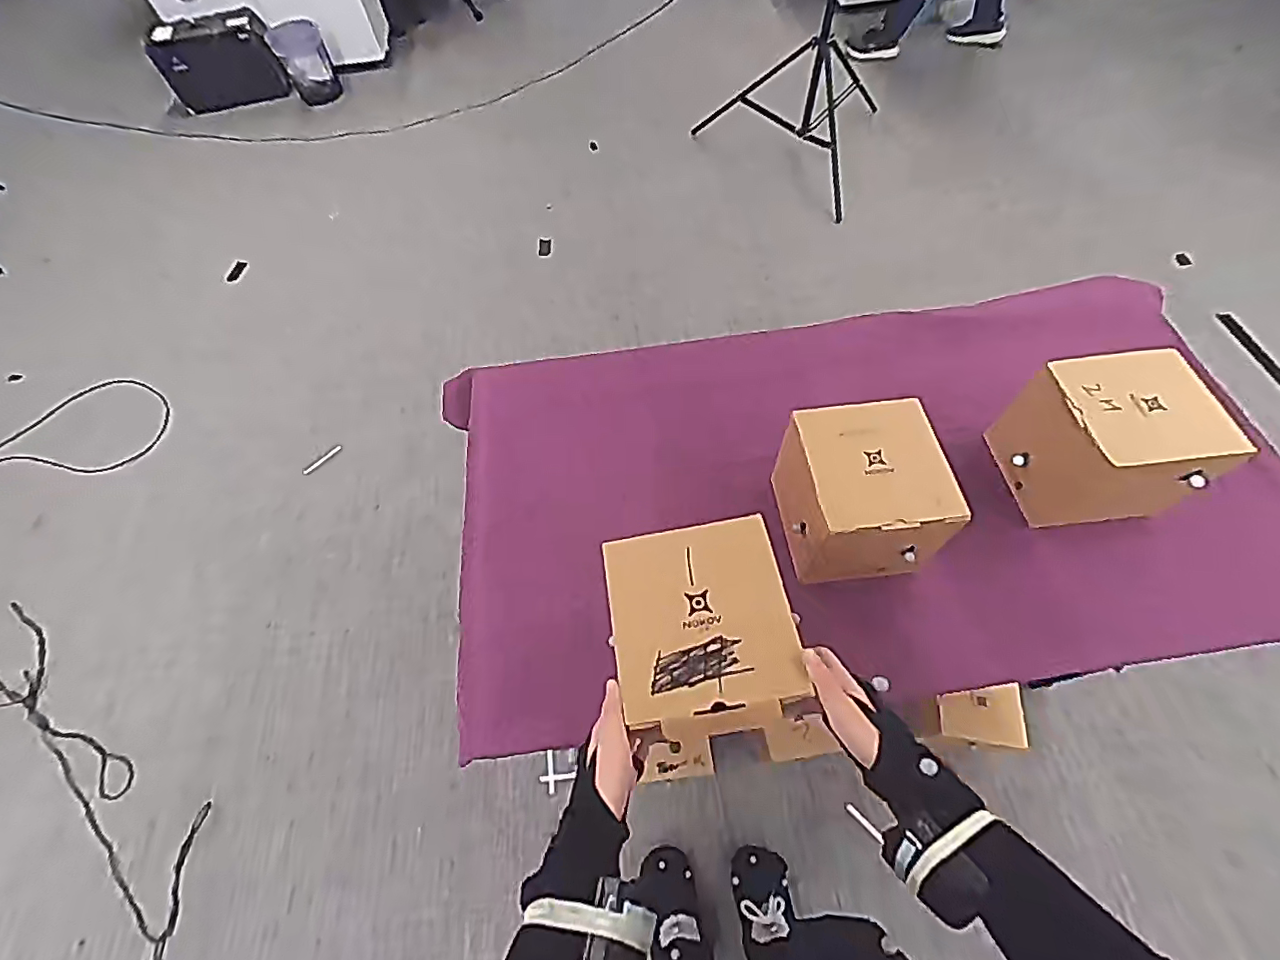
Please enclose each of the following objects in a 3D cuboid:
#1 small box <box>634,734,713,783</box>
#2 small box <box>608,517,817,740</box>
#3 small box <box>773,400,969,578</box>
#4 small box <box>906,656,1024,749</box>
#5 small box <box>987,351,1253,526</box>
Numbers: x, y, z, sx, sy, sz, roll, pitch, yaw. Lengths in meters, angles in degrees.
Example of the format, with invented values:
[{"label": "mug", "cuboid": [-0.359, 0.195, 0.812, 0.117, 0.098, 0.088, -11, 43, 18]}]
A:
[{"label": "small box", "cuboid": [0.069, 0.589, 1.244, 0.168, 0.176, 0.179, -6, 59, 0]}, {"label": "small box", "cuboid": [0.069, 0.164, 0.565, 0.168, 0.176, 0.179, -11, 58, 1]}, {"label": "small box", "cuboid": [0.285, 0.020, 0.716, 0.168, 0.176, 0.179, -6, 58, -2]}, {"label": "small box", "cuboid": [0.739, 0.519, 1.249, 0.179, 0.176, 0.168, 7, 62, 8]}, {"label": "small box", "cuboid": [0.626, -0.051, 0.736, 0.179, 0.176, 0.168, -6, 59, 0]}]
